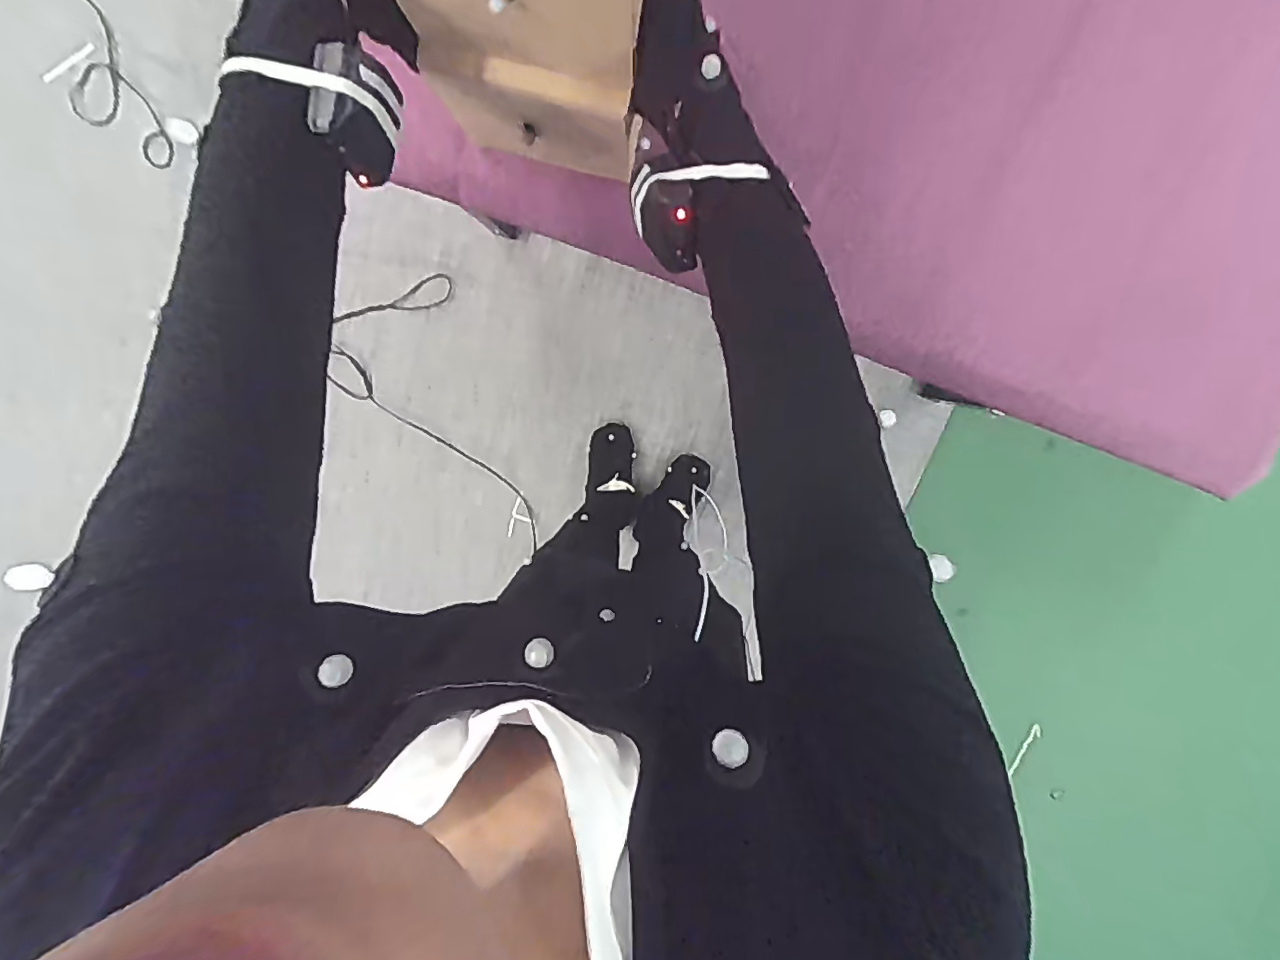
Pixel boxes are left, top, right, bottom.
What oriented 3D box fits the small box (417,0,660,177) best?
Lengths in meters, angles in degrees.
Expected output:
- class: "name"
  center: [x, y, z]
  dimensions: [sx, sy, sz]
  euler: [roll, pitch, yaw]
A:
- class: "small box"
  center: [-0.080, -0.407, 0.504]
  dimensions: [0.179, 0.176, 0.168]
  euler: [13, 102, -4]
